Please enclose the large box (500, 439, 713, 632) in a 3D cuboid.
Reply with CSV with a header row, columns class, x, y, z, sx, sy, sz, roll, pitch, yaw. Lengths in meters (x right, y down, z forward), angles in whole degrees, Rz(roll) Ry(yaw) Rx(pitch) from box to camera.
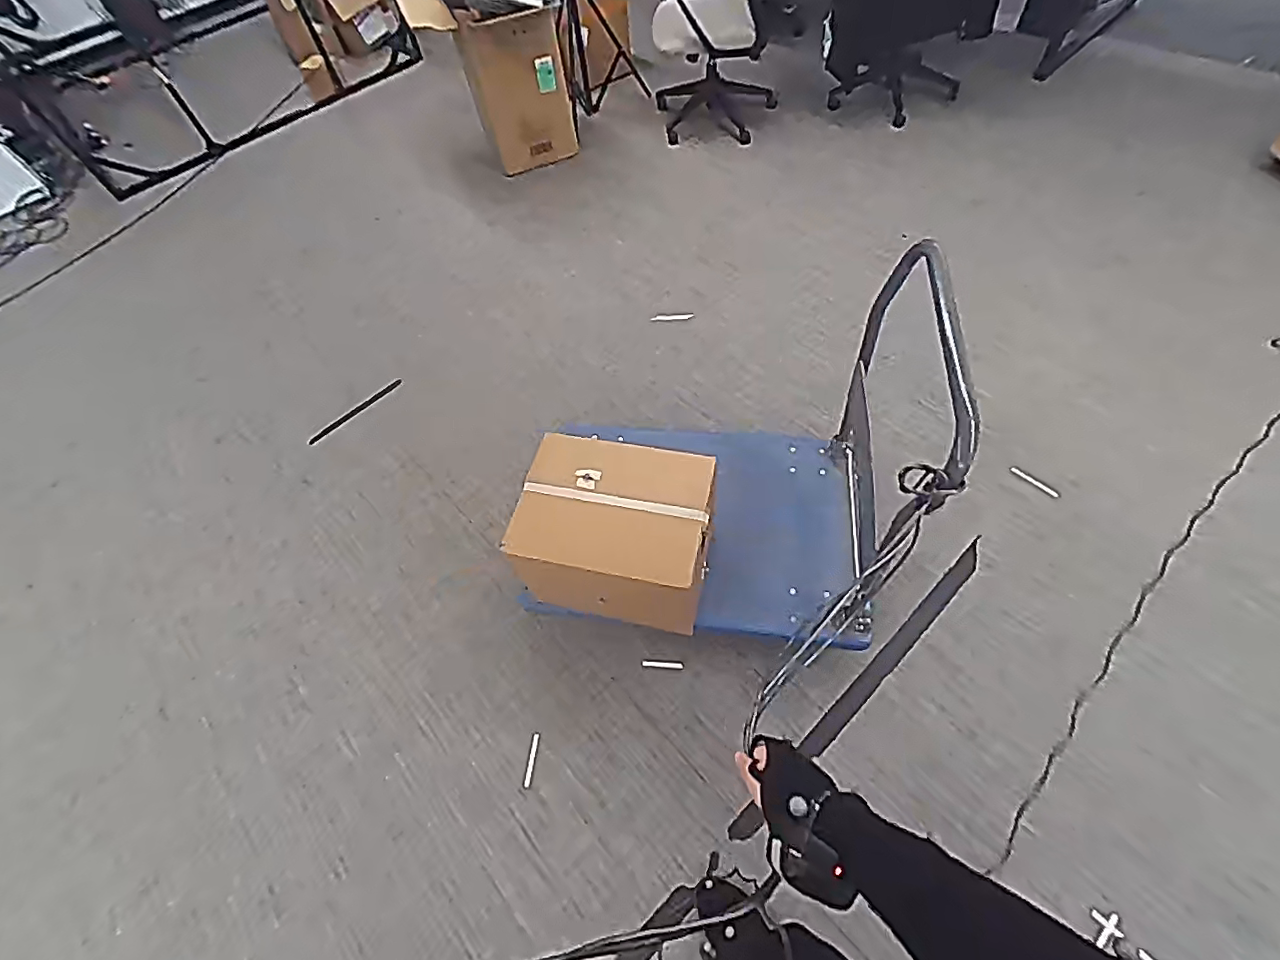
class,x,y,z,sx,sy,sz,roll,pitch,yaw
large box,-0.046,0.134,1.267,0.408,0.320,0.320,8,59,12
